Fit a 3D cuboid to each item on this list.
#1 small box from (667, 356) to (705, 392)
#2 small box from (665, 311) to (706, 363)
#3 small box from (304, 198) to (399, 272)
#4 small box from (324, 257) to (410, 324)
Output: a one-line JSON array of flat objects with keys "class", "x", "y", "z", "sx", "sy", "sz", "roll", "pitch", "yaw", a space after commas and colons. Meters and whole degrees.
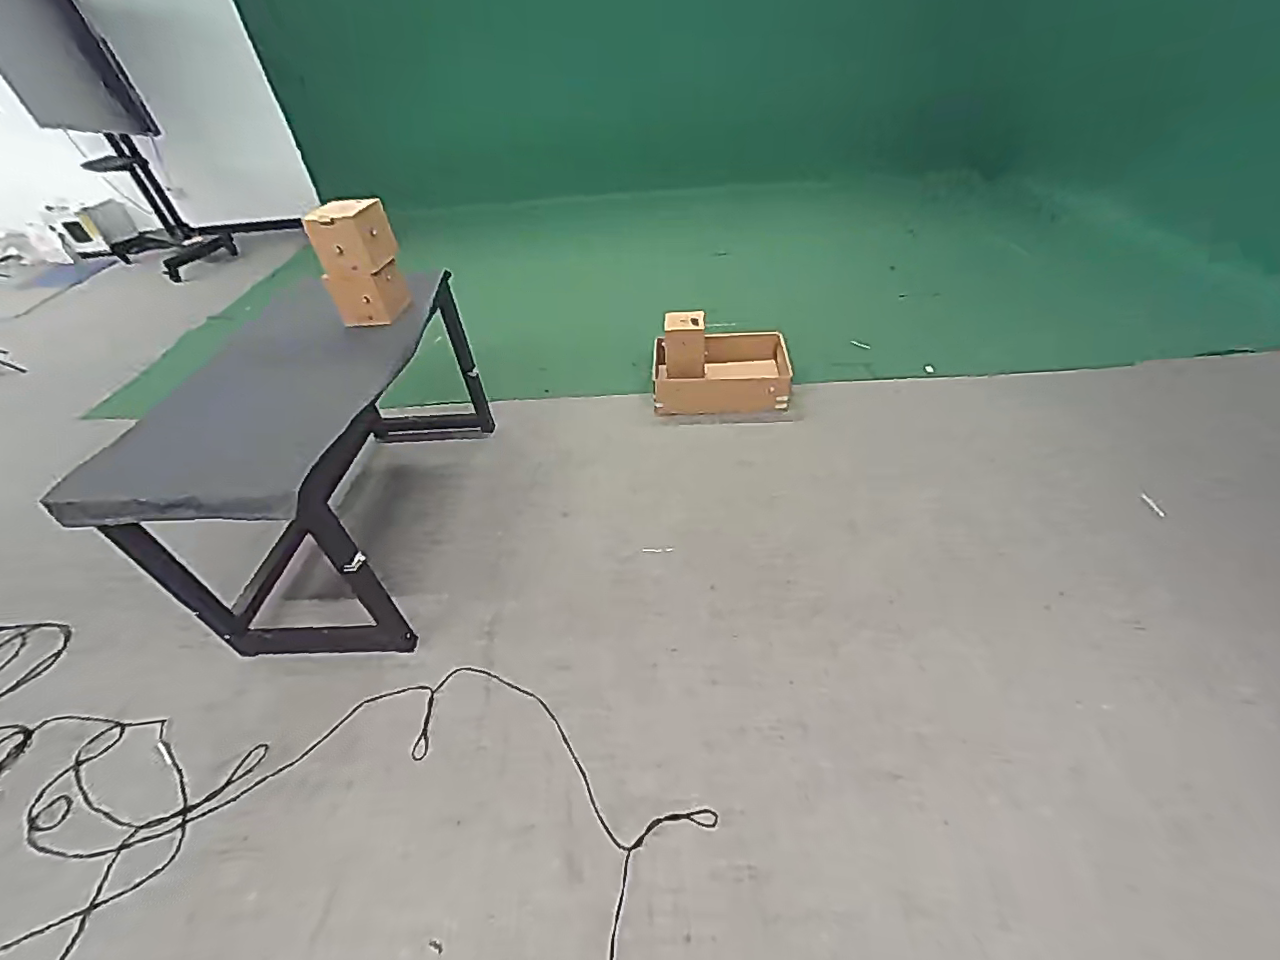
[{"class": "small box", "x": 0.216, "y": -0.524, "z": 2.543, "sx": 0.179, "sy": 0.176, "sz": 0.168, "roll": 0, "pitch": 44, "yaw": 4}, {"class": "small box", "x": 0.205, "y": -0.641, "z": 2.427, "sx": 0.179, "sy": 0.176, "sz": 0.168, "roll": -1, "pitch": 43, "yaw": 6}, {"class": "small box", "x": -0.880, "y": -0.753, "z": 1.672, "sx": 0.168, "sy": 0.176, "sz": 0.179, "roll": 2, "pitch": 44, "yaw": 9}, {"class": "small box", "x": -0.884, "y": -0.625, "z": 1.776, "sx": 0.168, "sy": 0.176, "sz": 0.179, "roll": 0, "pitch": 42, "yaw": 6}]
